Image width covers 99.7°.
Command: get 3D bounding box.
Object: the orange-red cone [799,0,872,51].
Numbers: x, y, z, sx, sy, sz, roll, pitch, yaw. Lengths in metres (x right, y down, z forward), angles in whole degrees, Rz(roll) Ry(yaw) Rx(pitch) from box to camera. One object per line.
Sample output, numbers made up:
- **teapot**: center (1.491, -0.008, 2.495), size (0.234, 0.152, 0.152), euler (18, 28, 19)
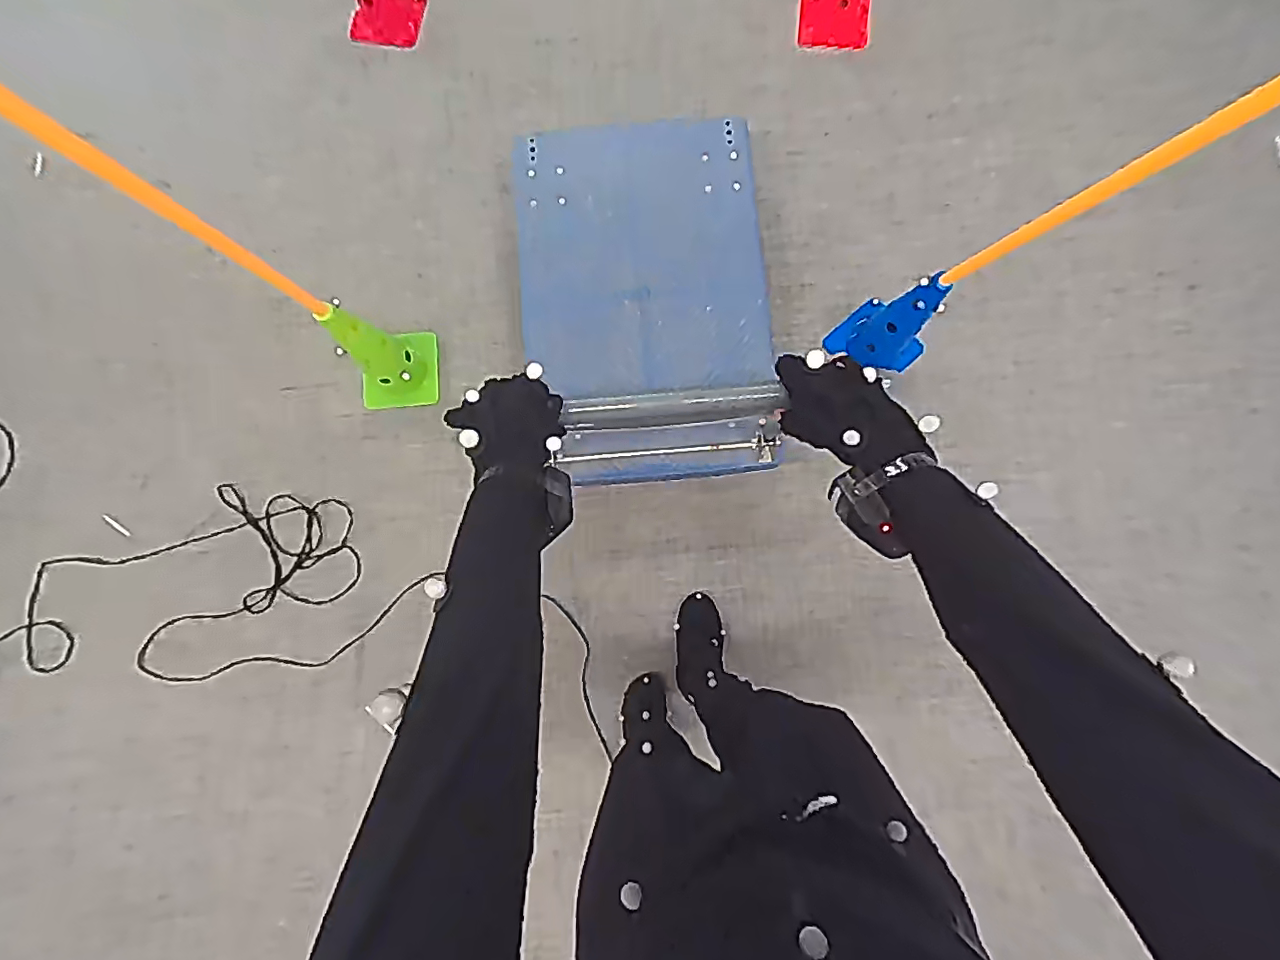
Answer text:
- **orange-red cone**: center (0.557, -1.344, 1.382), size (0.198, 0.360, 0.199), euler (7, 83, 3)
